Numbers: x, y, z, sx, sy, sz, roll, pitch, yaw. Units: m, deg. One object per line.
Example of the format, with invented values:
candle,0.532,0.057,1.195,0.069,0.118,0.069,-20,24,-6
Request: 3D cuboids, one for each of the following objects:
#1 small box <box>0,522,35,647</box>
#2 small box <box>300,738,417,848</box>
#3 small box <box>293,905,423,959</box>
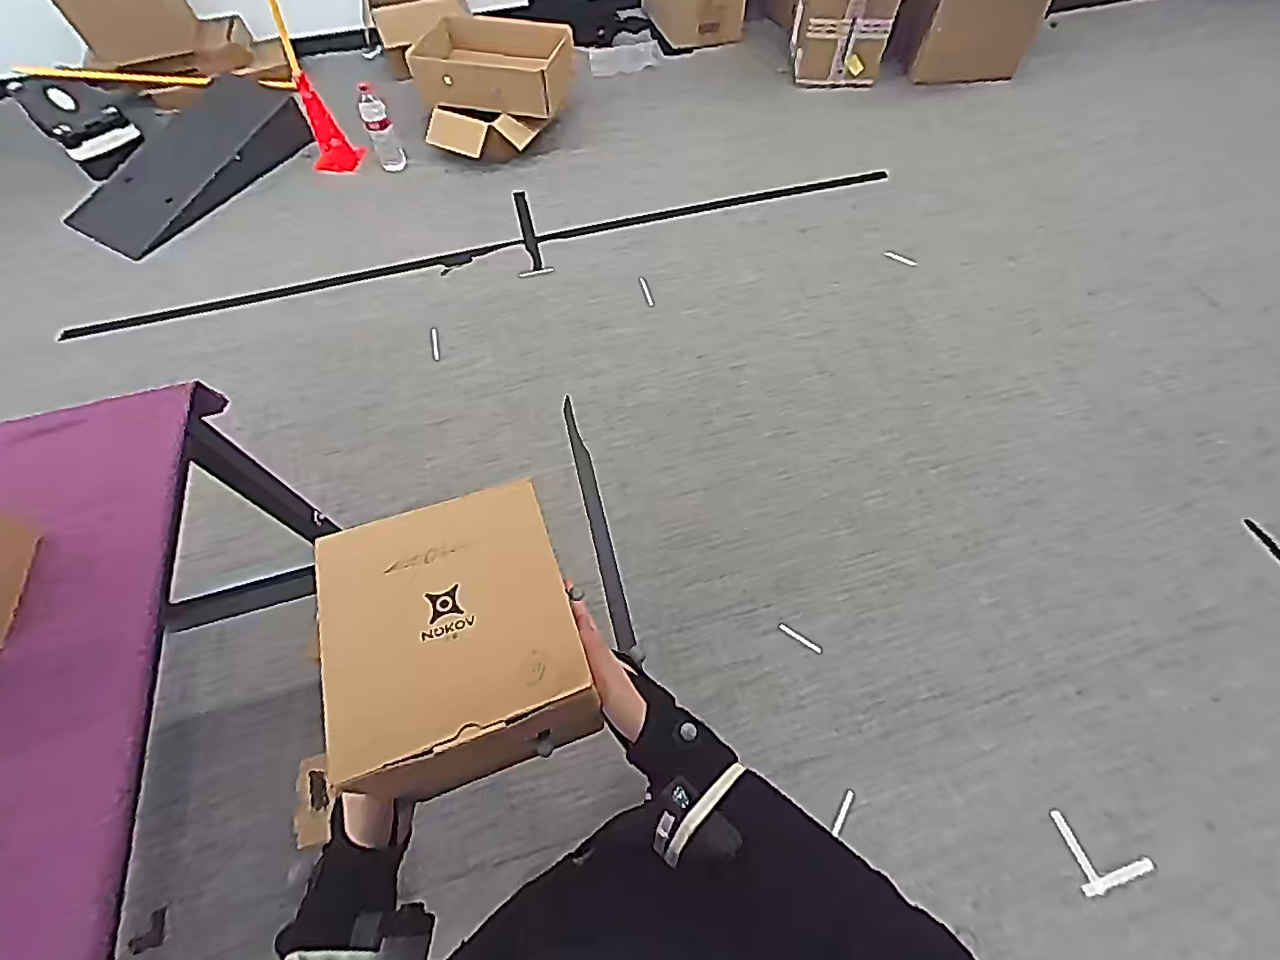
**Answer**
small box,-0.937,0.129,0.675,0.168,0.176,0.179,-13,62,-5
small box,-0.614,0.687,1.193,0.179,0.176,0.168,-14,62,-8
small box,-0.539,0.956,1.043,0.179,0.176,0.168,-14,61,-5
